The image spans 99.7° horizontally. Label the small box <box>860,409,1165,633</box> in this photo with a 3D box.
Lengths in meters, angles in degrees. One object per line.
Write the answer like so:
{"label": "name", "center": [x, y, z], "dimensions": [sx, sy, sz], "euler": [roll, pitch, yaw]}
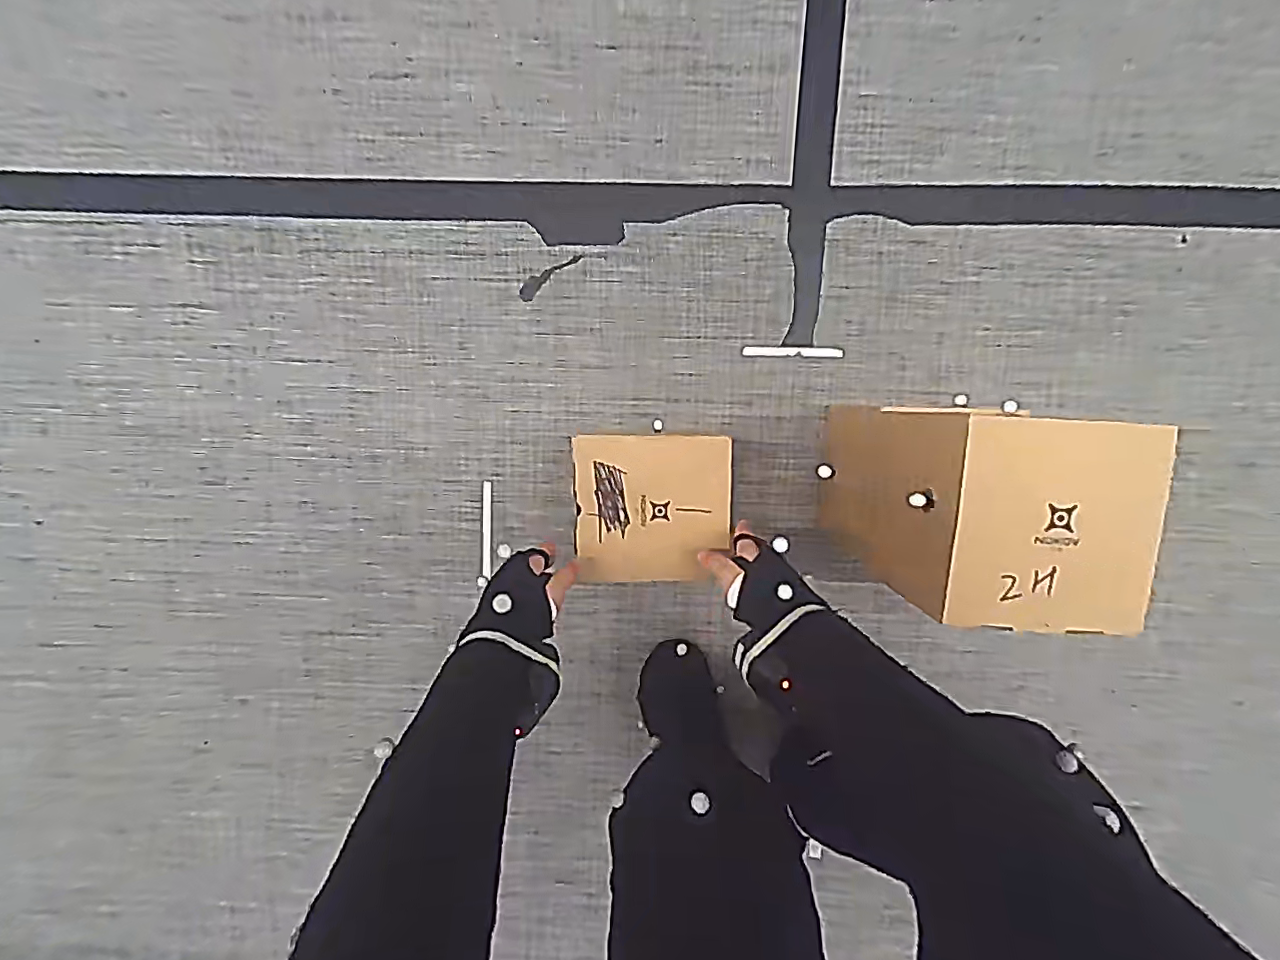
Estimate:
{"label": "small box", "center": [0.325, 0.026, 0.512], "dimensions": [0.168, 0.176, 0.179], "euler": [3, 98, 0]}

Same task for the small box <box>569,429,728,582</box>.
{"label": "small box", "center": [0.010, 0.023, 0.680], "dimensions": [0.179, 0.176, 0.168], "euler": [0, 98, 0]}

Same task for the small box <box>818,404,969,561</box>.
{"label": "small box", "center": [0.330, -0.003, 0.677], "dimensions": [0.168, 0.176, 0.179], "euler": [2, 98, 1]}
